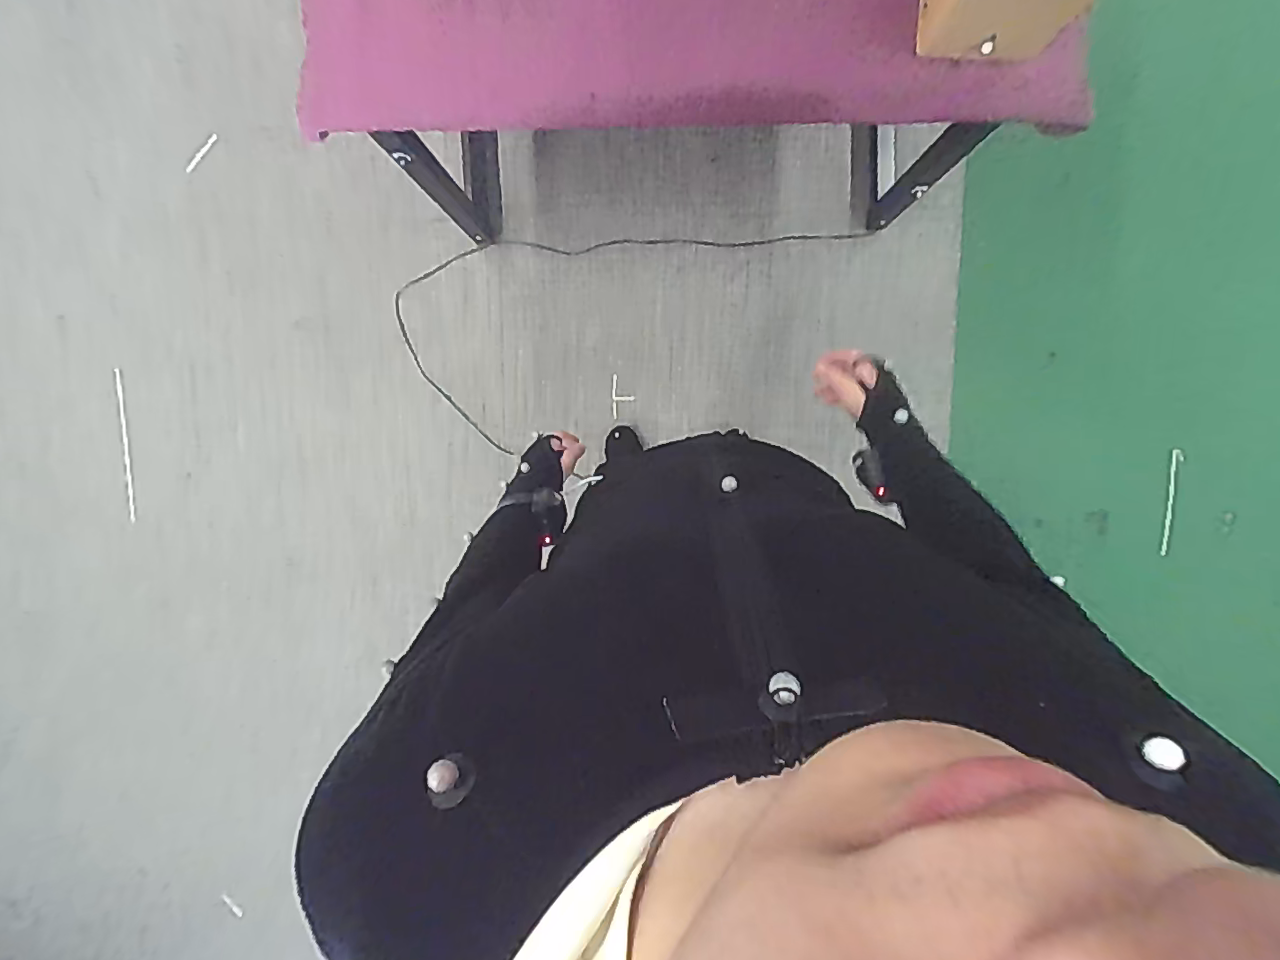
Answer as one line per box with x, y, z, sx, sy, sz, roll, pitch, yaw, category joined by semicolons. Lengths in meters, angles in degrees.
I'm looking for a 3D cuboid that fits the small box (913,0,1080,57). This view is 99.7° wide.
0.508;-0.722;0.741;0.179;0.176;0.168;3;94;2;small box
